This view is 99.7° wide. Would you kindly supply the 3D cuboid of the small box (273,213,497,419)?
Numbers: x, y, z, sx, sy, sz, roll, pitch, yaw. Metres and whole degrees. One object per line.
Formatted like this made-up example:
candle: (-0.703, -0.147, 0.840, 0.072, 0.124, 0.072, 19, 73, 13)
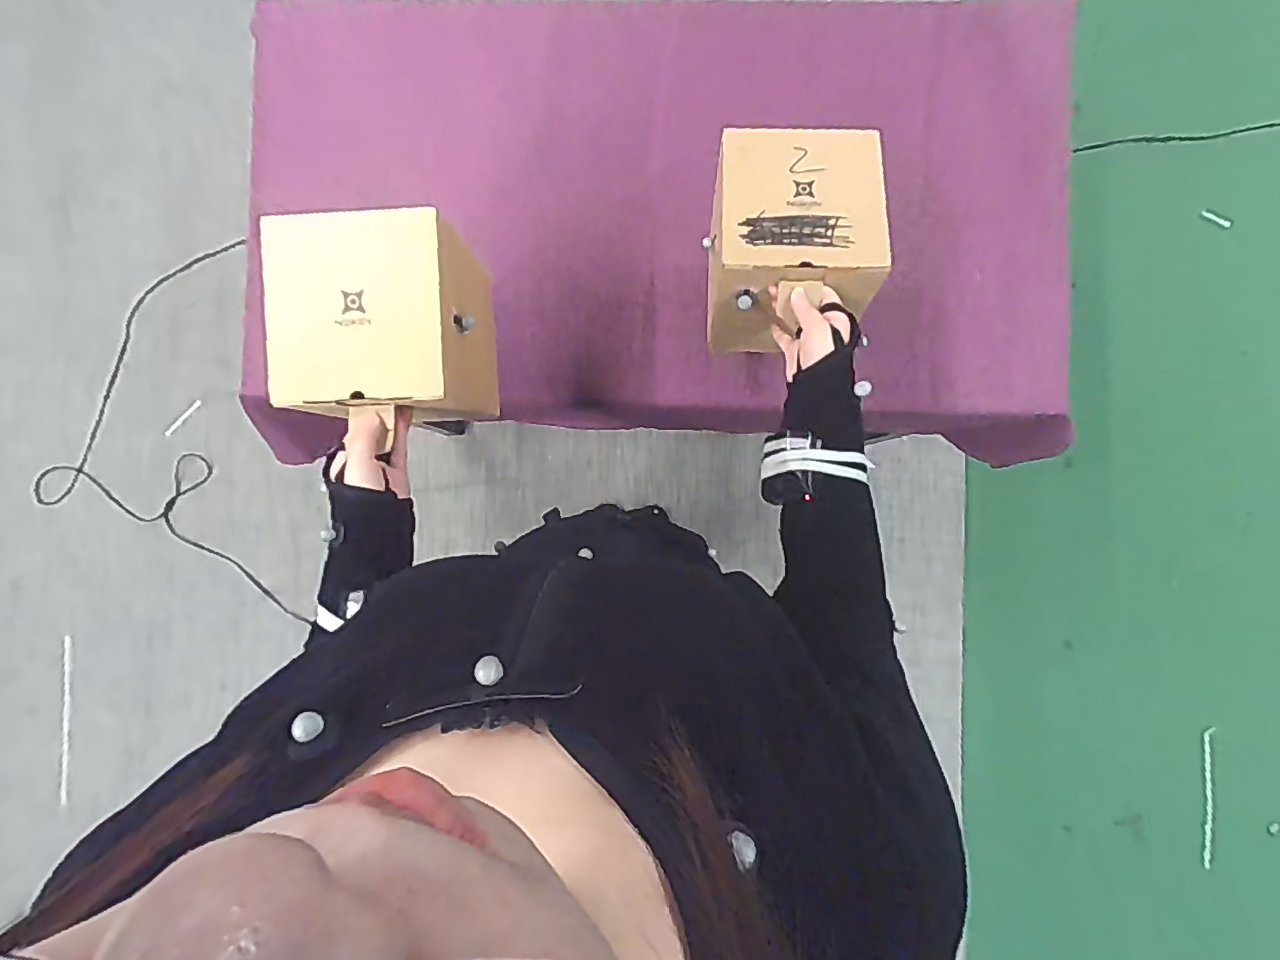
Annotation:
small box: (-0.261, -0.164, 0.590, 0.168, 0.176, 0.179, -2, 92, 2)
